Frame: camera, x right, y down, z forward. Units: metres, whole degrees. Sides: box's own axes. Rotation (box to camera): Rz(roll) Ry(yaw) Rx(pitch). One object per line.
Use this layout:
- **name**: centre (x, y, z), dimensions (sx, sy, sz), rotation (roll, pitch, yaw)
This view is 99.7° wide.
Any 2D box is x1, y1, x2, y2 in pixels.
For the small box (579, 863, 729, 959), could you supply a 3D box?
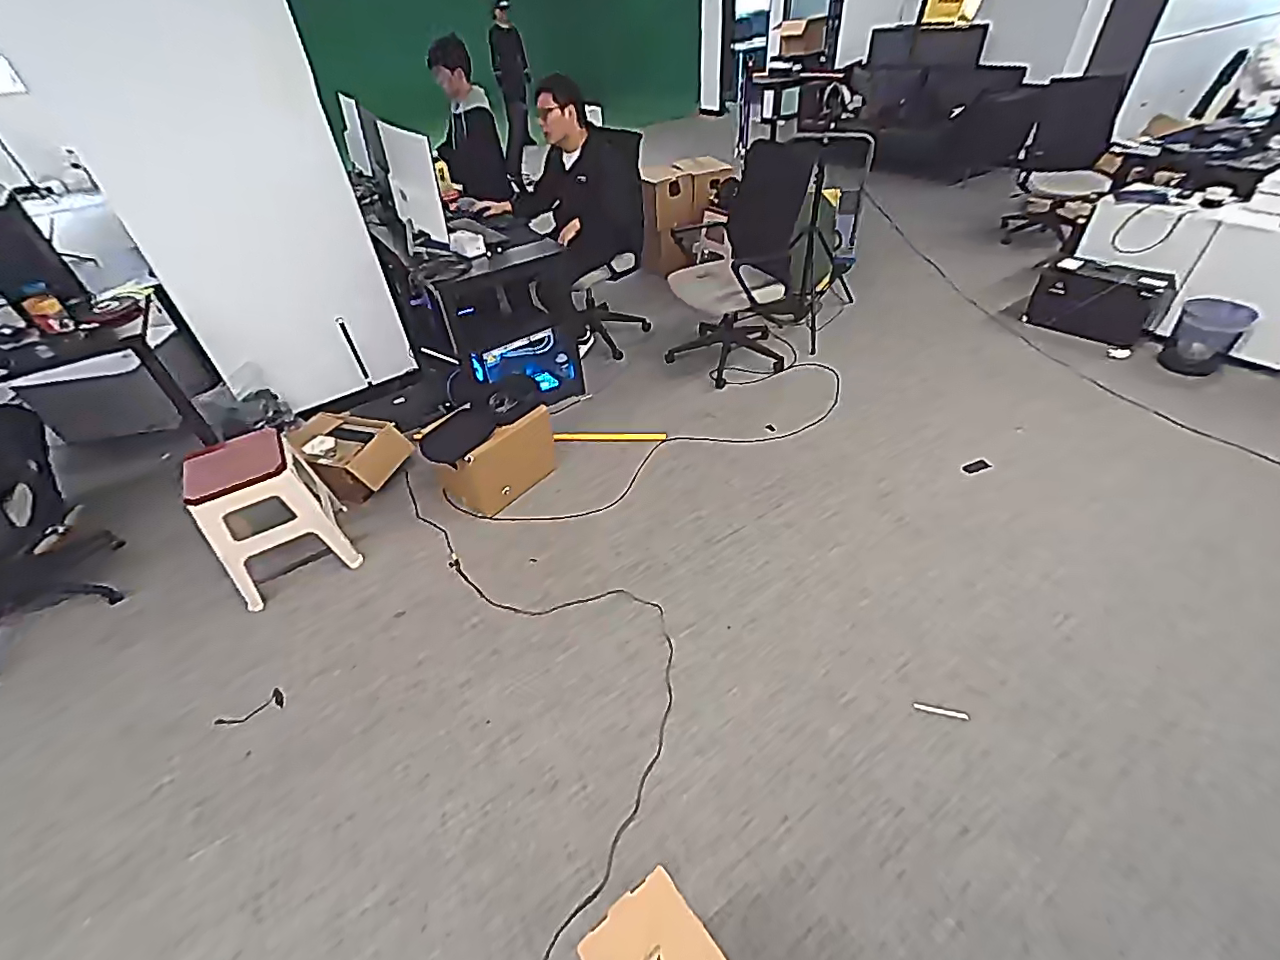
- **small box**: centre (0.026, 0.749, 0.831), dimensions (0.168, 0.176, 0.179), rotation (-30, 48, -25)
